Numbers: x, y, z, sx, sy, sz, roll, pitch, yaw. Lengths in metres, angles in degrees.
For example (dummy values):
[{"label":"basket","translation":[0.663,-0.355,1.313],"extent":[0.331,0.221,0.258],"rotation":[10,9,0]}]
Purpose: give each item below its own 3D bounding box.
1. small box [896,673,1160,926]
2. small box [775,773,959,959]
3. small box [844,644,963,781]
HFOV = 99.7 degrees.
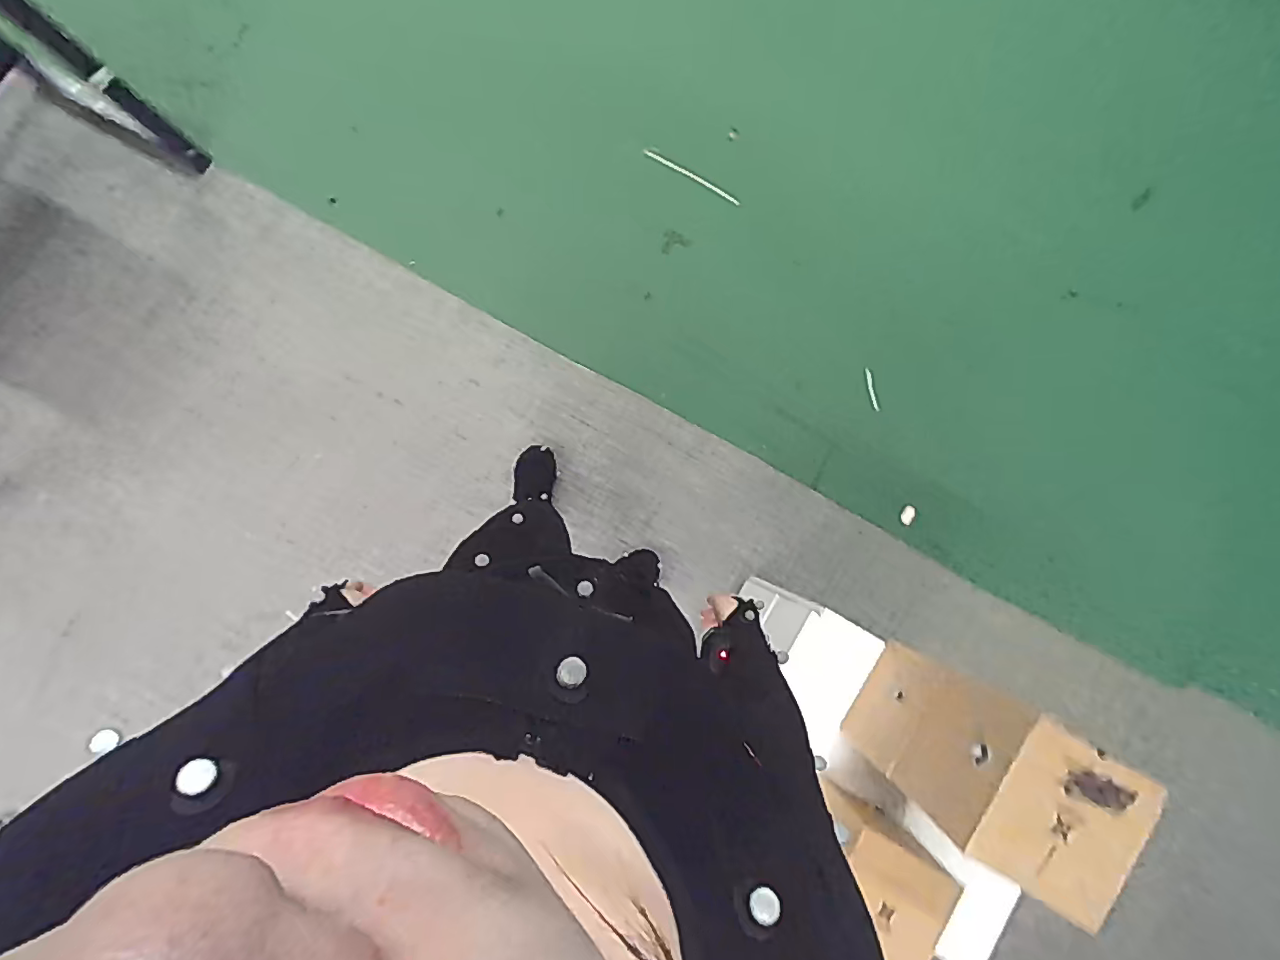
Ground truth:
[{"label":"small box","translation":[0.456,0.371,0.668],"extent":[0.168,0.176,0.179],"rotation":[31,88,0]},{"label":"small box","translation":[0.324,0.592,0.816],"extent":[0.168,0.176,0.179],"rotation":[32,84,0]},{"label":"small box","translation":[0.447,0.379,0.833],"extent":[0.168,0.176,0.179],"rotation":[32,86,1]}]
